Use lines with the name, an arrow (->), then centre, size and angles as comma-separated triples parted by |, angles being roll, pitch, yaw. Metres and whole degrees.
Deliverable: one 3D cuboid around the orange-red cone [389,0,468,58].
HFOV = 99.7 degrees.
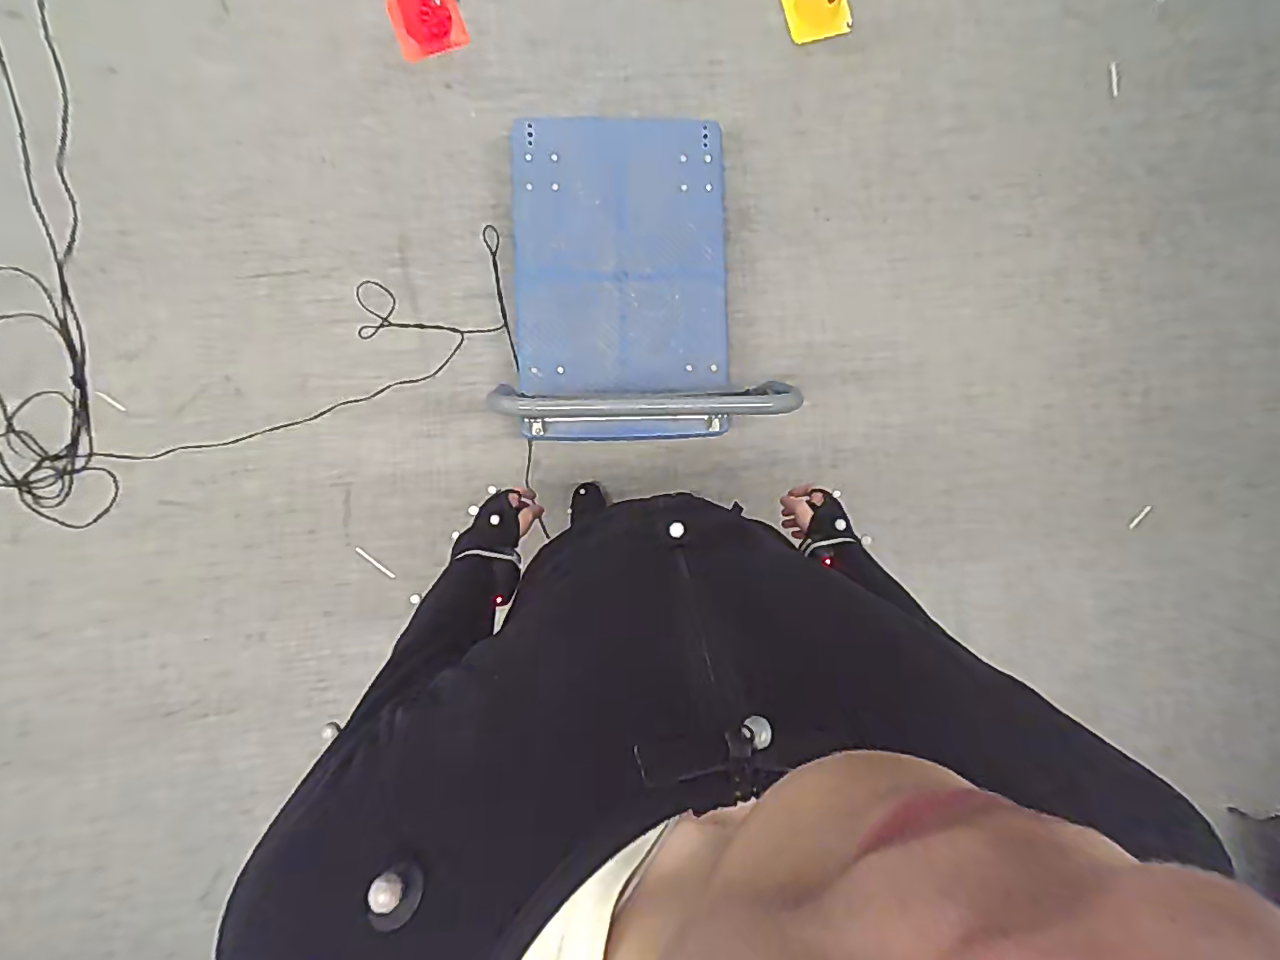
orange-red cone -> -0.624, -1.372, 1.440 | 0.199, 0.360, 0.198 | -20, 90, -2
